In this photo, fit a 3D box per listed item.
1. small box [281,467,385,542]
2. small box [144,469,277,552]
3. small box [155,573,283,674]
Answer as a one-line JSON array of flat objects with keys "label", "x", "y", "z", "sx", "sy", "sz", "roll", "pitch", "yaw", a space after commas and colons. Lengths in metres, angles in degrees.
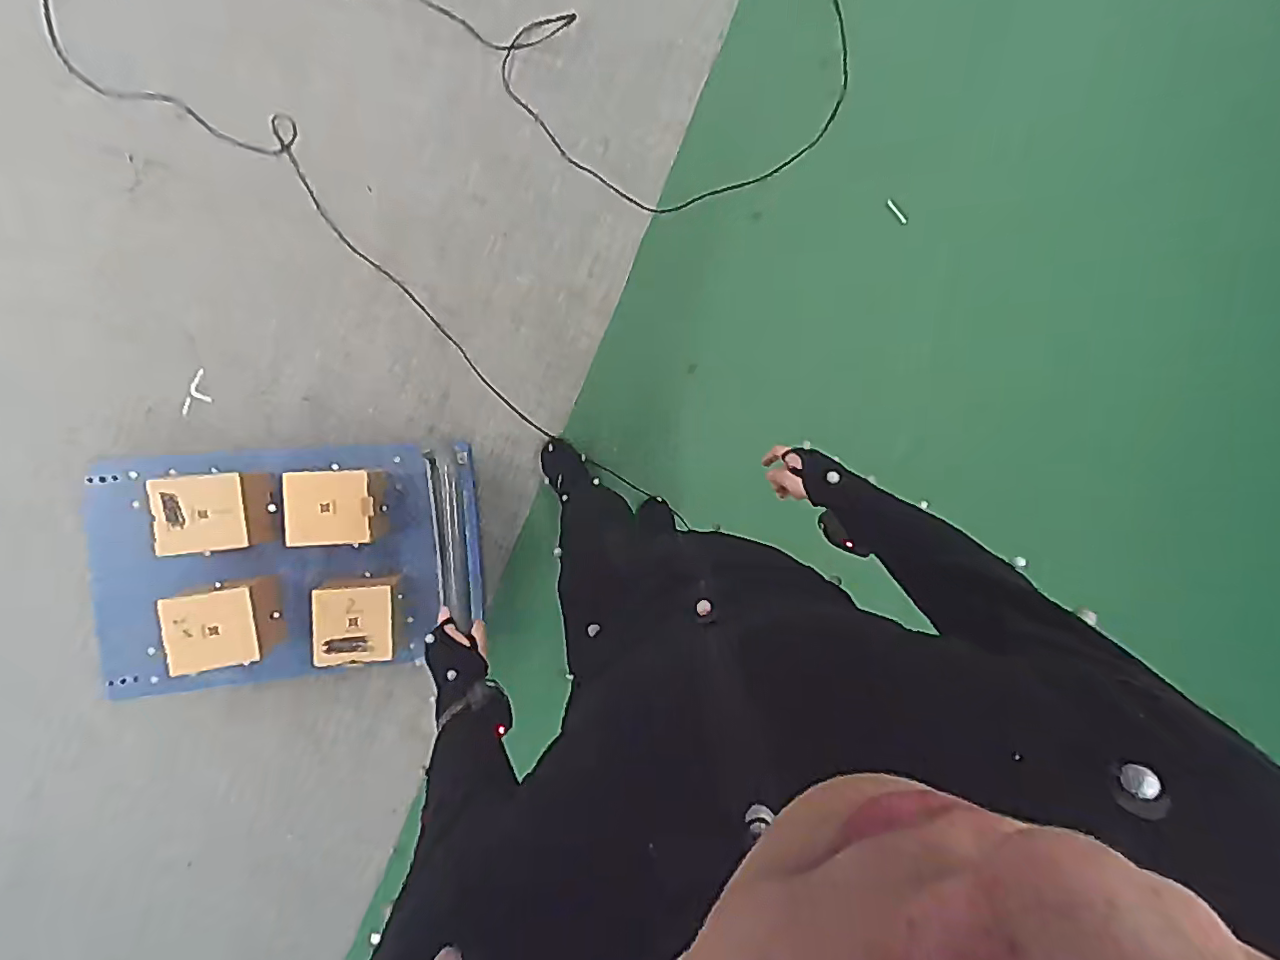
[{"label": "small box", "x": -0.720, "y": 0.054, "z": 1.283, "sx": 0.179, "sy": 0.176, "sz": 0.168, "roll": -2, "pitch": 92, "yaw": -14}, {"label": "small box", "x": -0.963, "y": 0.064, "z": 1.225, "sx": 0.179, "sy": 0.176, "sz": 0.168, "roll": -6, "pitch": 93, "yaw": -14}, {"label": "small box", "x": -0.946, "y": 0.318, "z": 1.235, "sx": 0.179, "sy": 0.176, "sz": 0.168, "roll": -8, "pitch": 92, "yaw": -13}]
